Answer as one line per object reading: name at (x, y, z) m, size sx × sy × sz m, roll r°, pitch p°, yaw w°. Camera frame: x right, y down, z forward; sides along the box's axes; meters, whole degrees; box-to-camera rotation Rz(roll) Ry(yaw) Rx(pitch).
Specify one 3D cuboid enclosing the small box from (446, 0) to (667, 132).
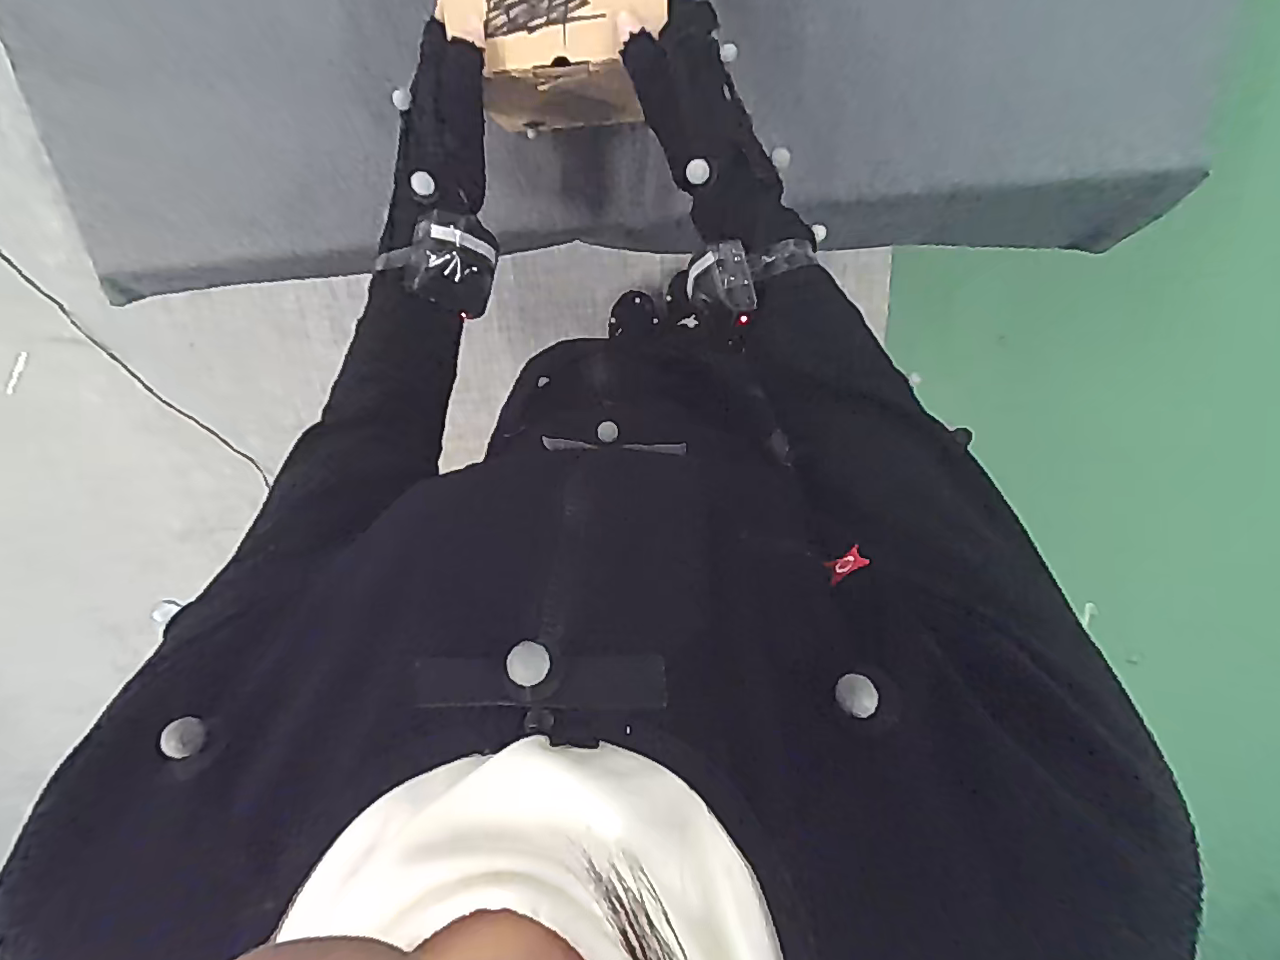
small box at (-0.062, -0.417, 0.461) m, size 0.168 × 0.176 × 0.179 m, roll -4°, pitch 109°, yaw 3°

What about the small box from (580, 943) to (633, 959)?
small box at (-0.115, 1.683, 1.798) m, size 0.179 × 0.176 × 0.168 m, roll -5°, pitch 111°, yaw 4°

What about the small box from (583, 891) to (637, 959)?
small box at (-0.105, 1.643, 1.977) m, size 0.179 × 0.176 × 0.168 m, roll -6°, pitch 112°, yaw 4°
